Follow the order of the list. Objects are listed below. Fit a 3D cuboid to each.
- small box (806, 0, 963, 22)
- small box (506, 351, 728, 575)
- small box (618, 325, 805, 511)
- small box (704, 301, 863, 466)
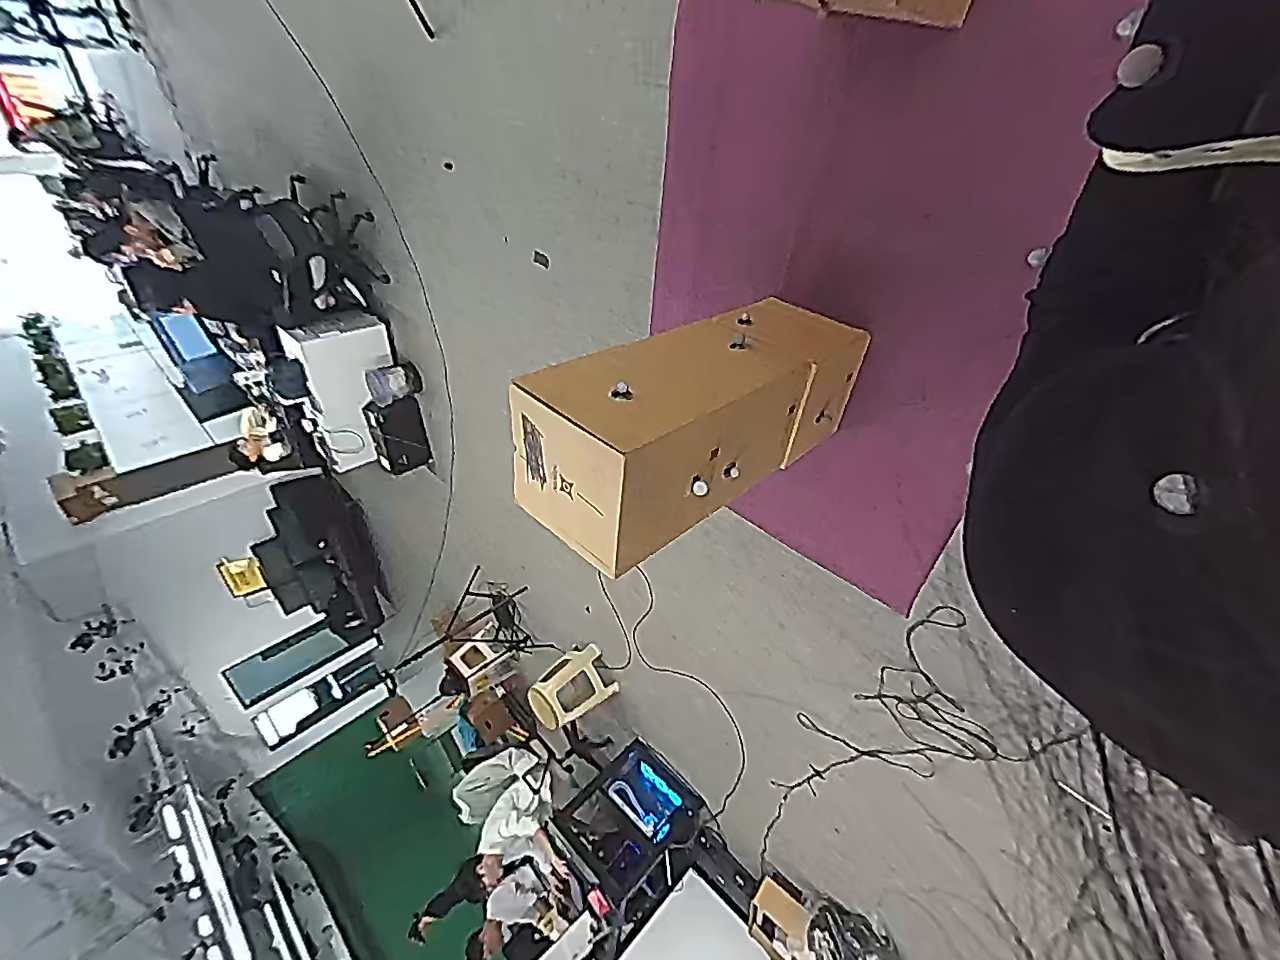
[{"bbox_3d":[0.231,-0.561,0.516,0.179,0.176,0.168,38,138,27],"label":"small box"},{"bbox_3d":[-0.030,-0.032,0.612,0.179,0.176,0.168,34,135,31],"label":"small box"},{"bbox_3d":[0.083,-0.093,0.715,0.179,0.176,0.168,34,135,32],"label":"small box"},{"bbox_3d":[0.202,-0.154,0.811,0.179,0.176,0.168,34,135,31],"label":"small box"}]
